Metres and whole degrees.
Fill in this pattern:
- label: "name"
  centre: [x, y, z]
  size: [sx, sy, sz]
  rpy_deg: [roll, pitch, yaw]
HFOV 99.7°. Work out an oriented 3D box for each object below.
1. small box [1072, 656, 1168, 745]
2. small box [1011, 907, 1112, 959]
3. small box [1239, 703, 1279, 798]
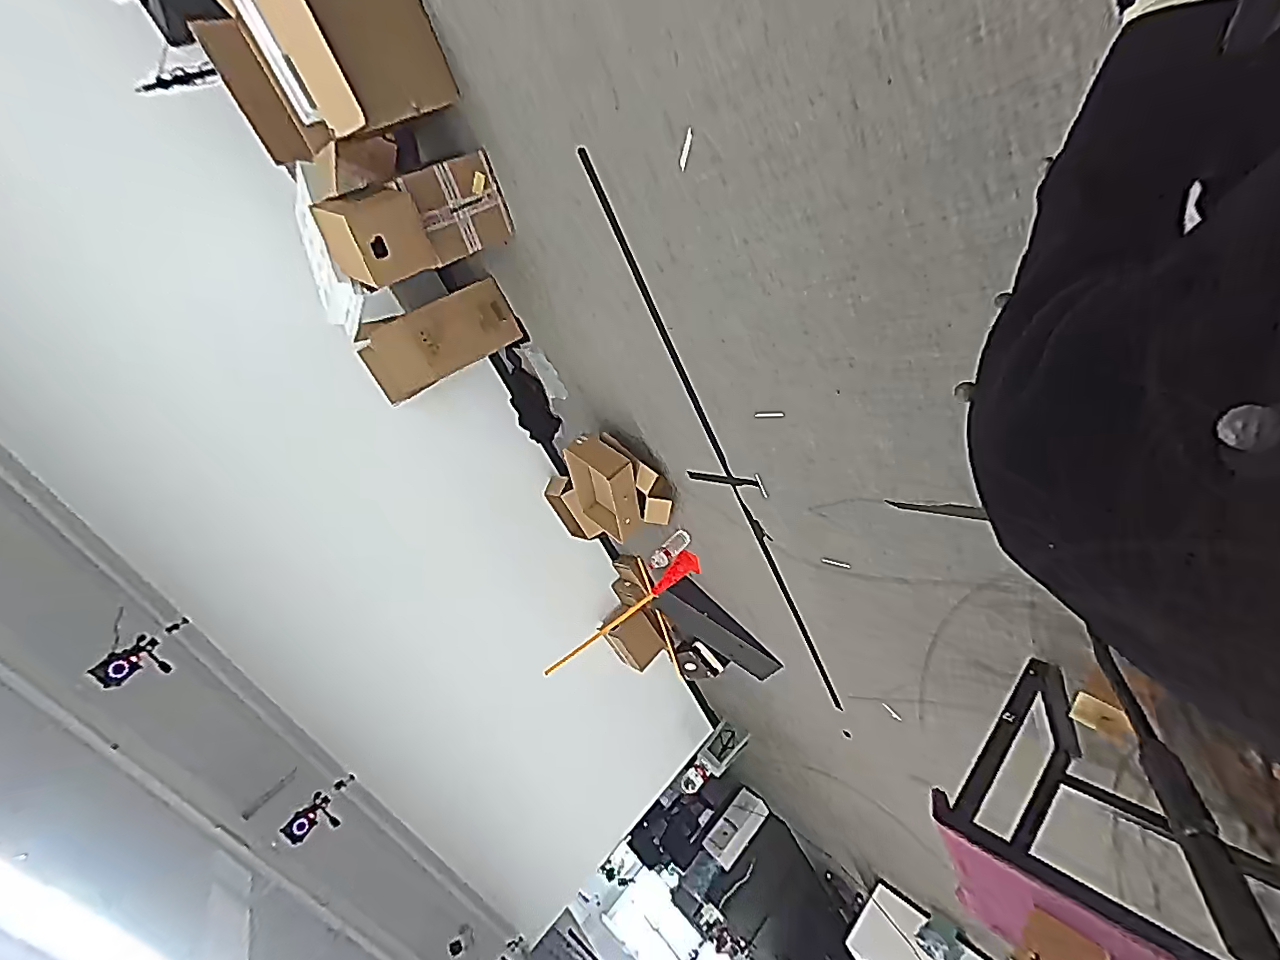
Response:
- label: "small box"
  centre: [1.534, 0.695, 1.731]
  size: [0.179, 0.176, 0.168]
  rpy_deg: [24, 144, 42]
- label: "small box"
  centre: [1.160, 1.326, 1.484]
  size: [0.179, 0.176, 0.168]
  rpy_deg: [10, 135, 54]
- label: "small box"
  centre: [1.741, 0.739, 1.443]
  size: [0.168, 0.176, 0.179]
  rpy_deg: [7, 131, 56]
